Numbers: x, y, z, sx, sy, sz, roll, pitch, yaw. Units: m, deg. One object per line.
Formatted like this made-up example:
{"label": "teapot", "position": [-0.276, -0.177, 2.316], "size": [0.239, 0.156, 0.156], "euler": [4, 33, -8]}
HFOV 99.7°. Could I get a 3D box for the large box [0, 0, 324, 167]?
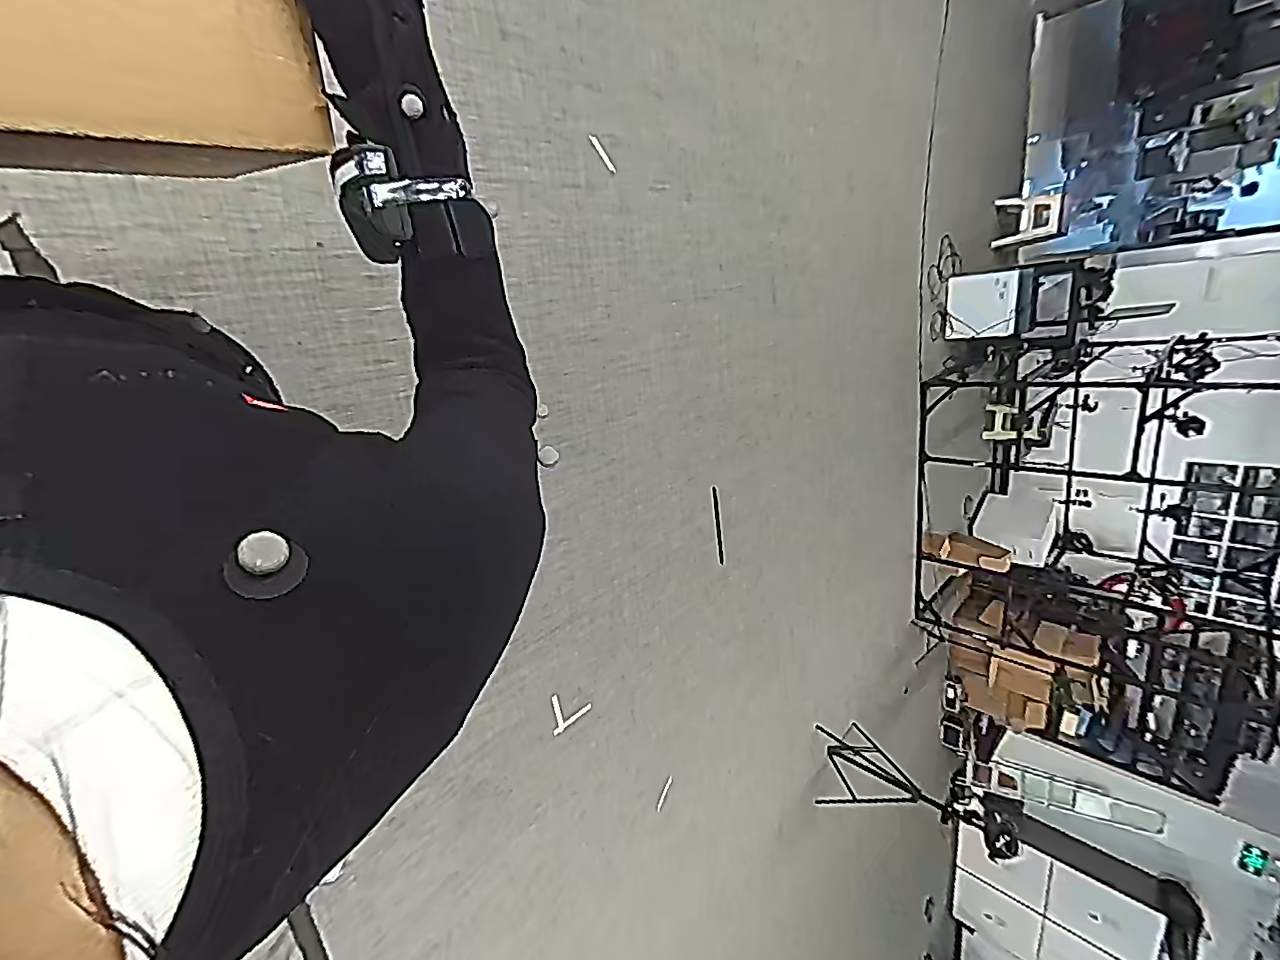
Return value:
{"label": "large box", "position": [-0.460, -0.350, 0.270], "size": [0.408, 0.320, 0.320], "euler": [-24, 126, -40]}
